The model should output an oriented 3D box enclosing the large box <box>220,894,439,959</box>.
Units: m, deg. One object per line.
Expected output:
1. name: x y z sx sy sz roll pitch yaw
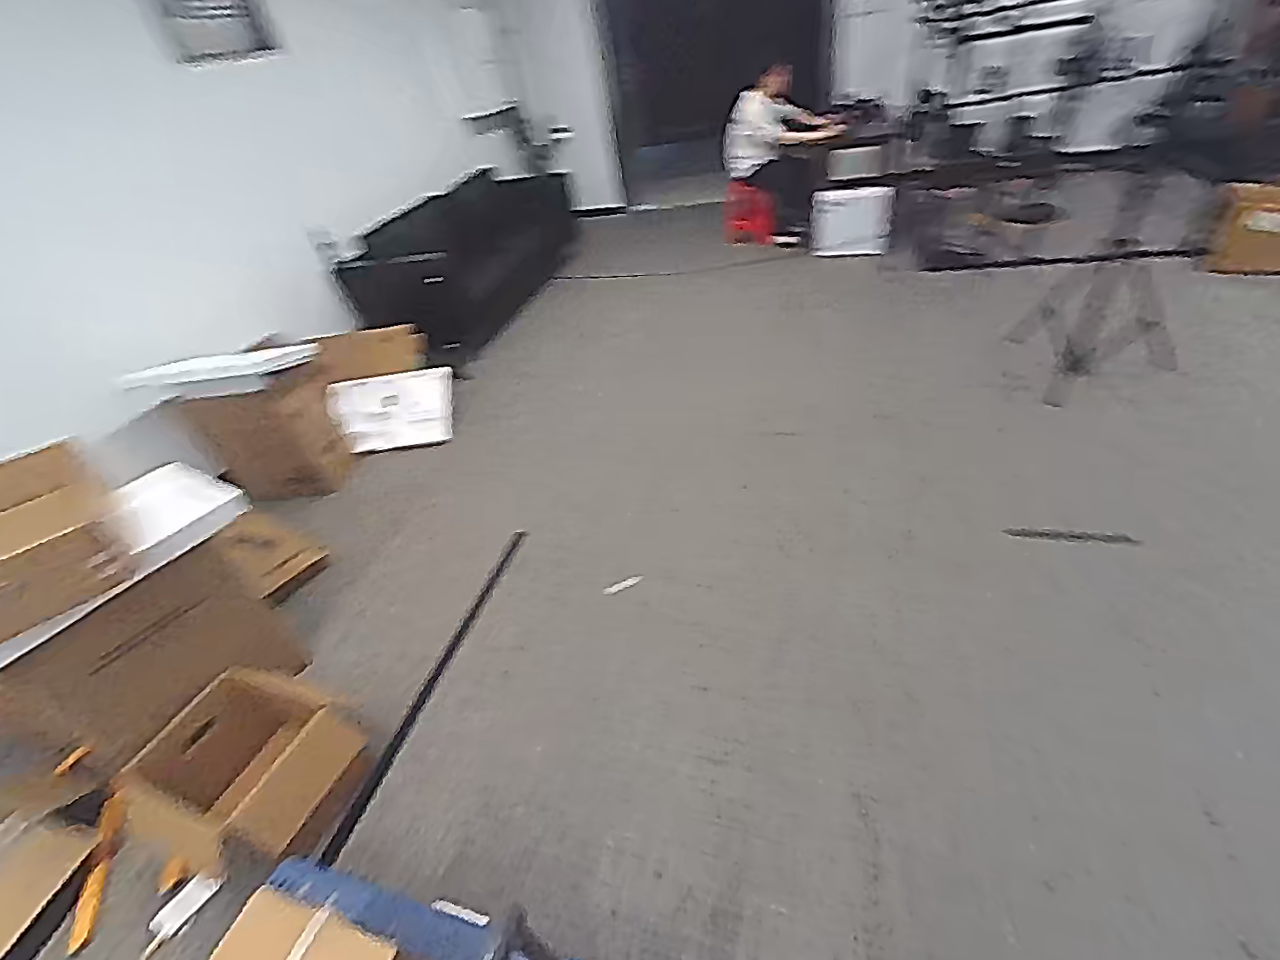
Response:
1. large box: -0.552 0.979 0.865 0.320 0.320 0.408 3 41 19
